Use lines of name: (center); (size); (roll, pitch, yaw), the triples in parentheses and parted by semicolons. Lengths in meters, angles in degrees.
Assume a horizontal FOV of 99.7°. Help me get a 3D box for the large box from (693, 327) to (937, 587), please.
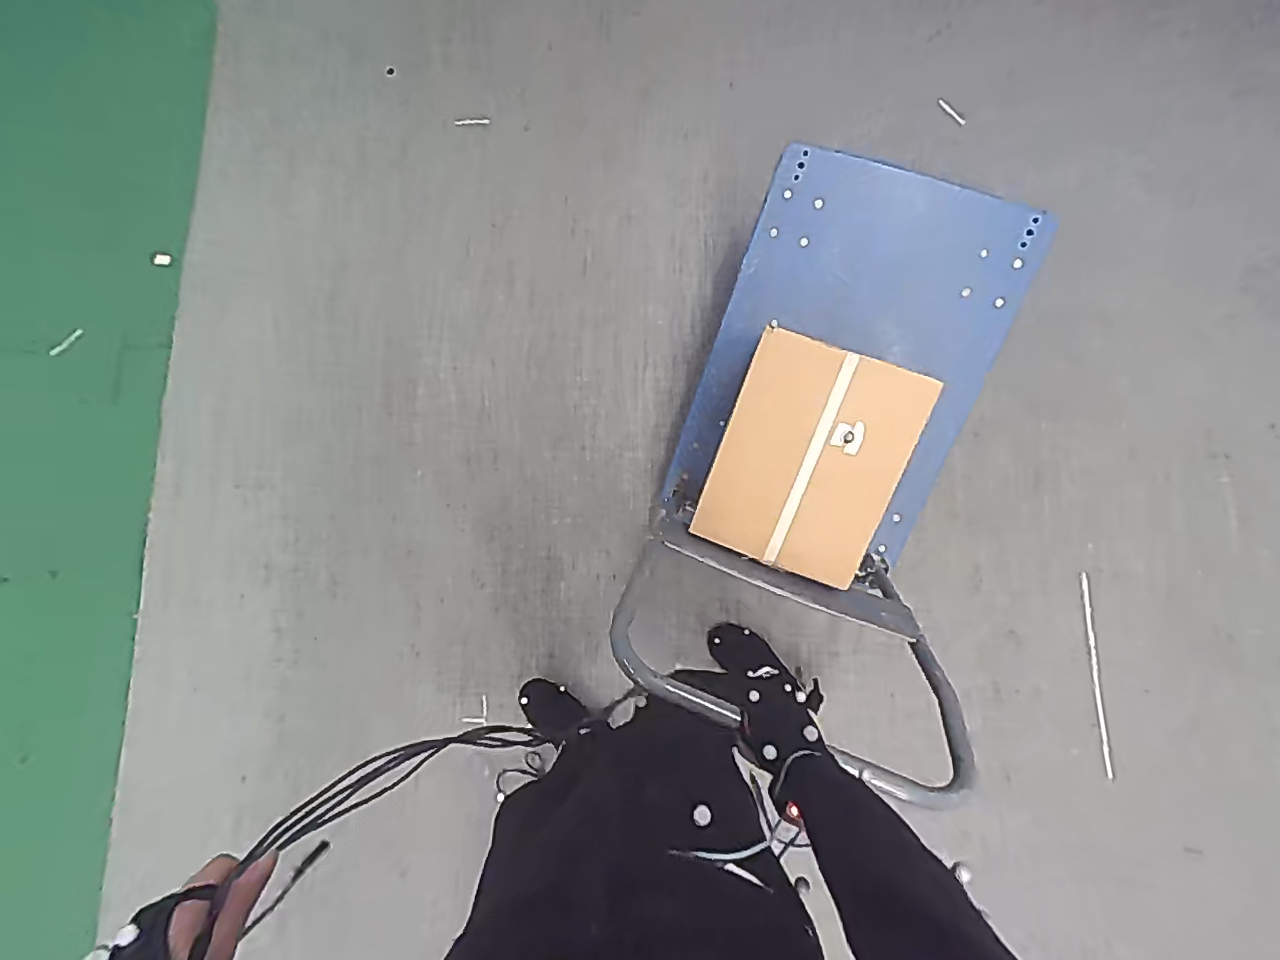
large box: (0.330, -0.058, 1.115); (0.320, 0.320, 0.408); (21, 103, 6)
